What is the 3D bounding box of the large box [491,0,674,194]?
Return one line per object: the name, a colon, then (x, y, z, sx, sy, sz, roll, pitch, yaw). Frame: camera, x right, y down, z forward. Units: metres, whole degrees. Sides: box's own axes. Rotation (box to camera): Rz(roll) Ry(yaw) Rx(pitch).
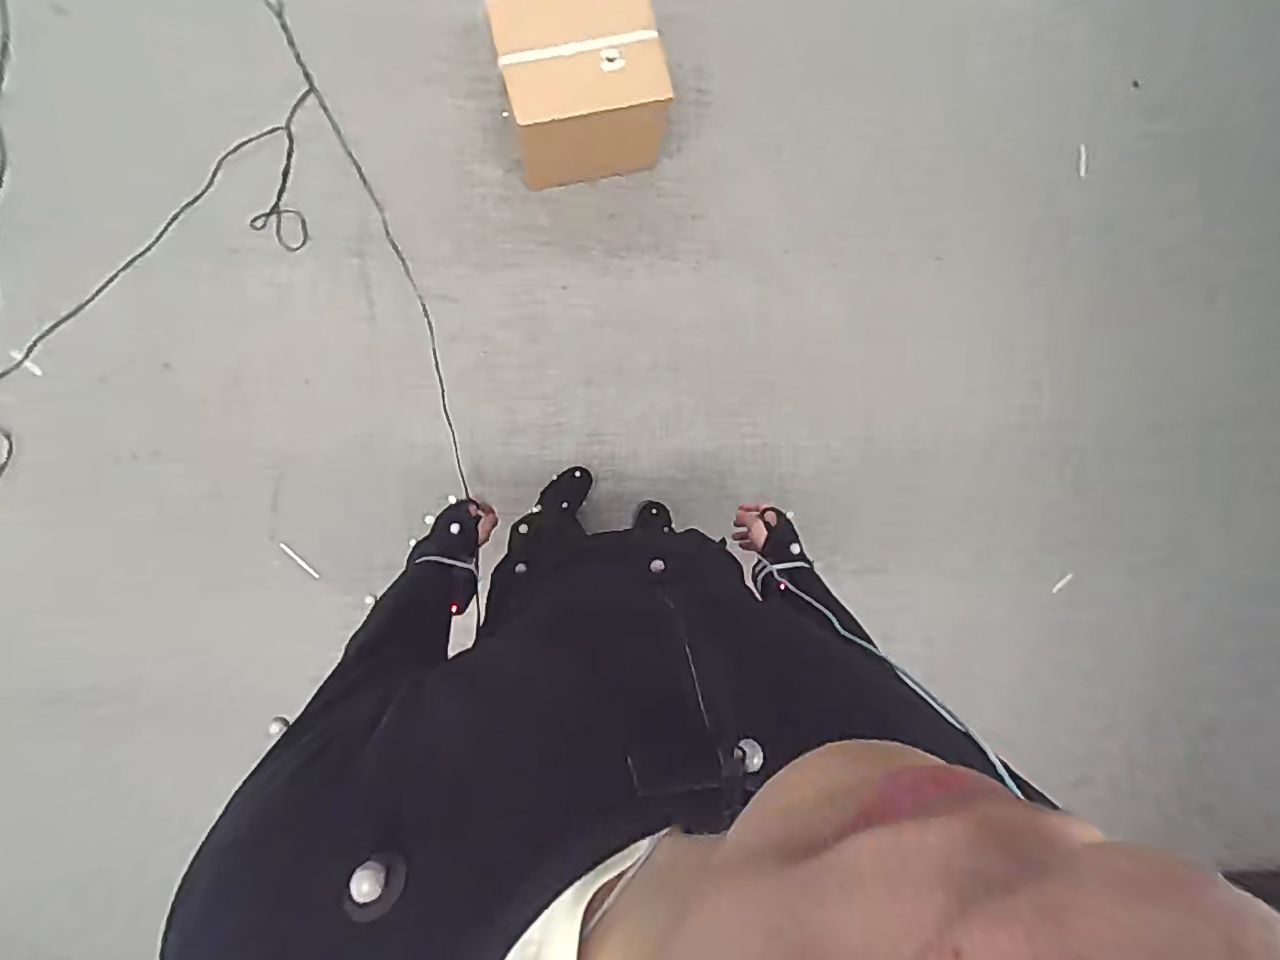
large box: (-0.157, -1.051, 1.491, 0.408, 0.320, 0.320, -15, 91, -7)
